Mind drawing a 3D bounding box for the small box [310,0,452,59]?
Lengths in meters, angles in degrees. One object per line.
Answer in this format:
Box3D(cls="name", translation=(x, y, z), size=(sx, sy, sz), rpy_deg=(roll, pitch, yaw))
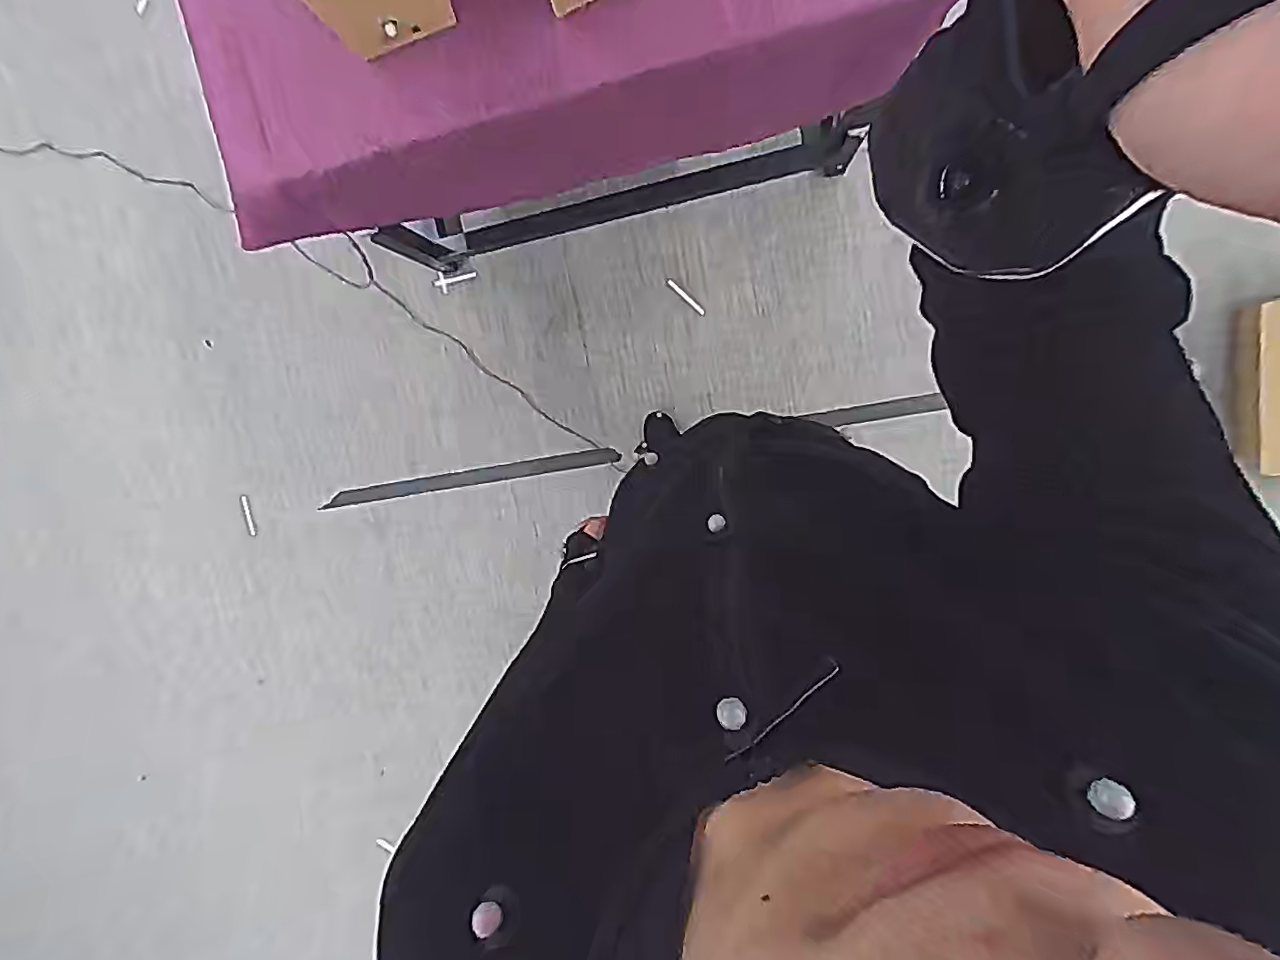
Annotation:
Box3D(cls="small box", translation=(-0.396, -0.757, 0.762), size=(0.168, 0.176, 0.179), rpy_deg=(-14, 97, 9))
